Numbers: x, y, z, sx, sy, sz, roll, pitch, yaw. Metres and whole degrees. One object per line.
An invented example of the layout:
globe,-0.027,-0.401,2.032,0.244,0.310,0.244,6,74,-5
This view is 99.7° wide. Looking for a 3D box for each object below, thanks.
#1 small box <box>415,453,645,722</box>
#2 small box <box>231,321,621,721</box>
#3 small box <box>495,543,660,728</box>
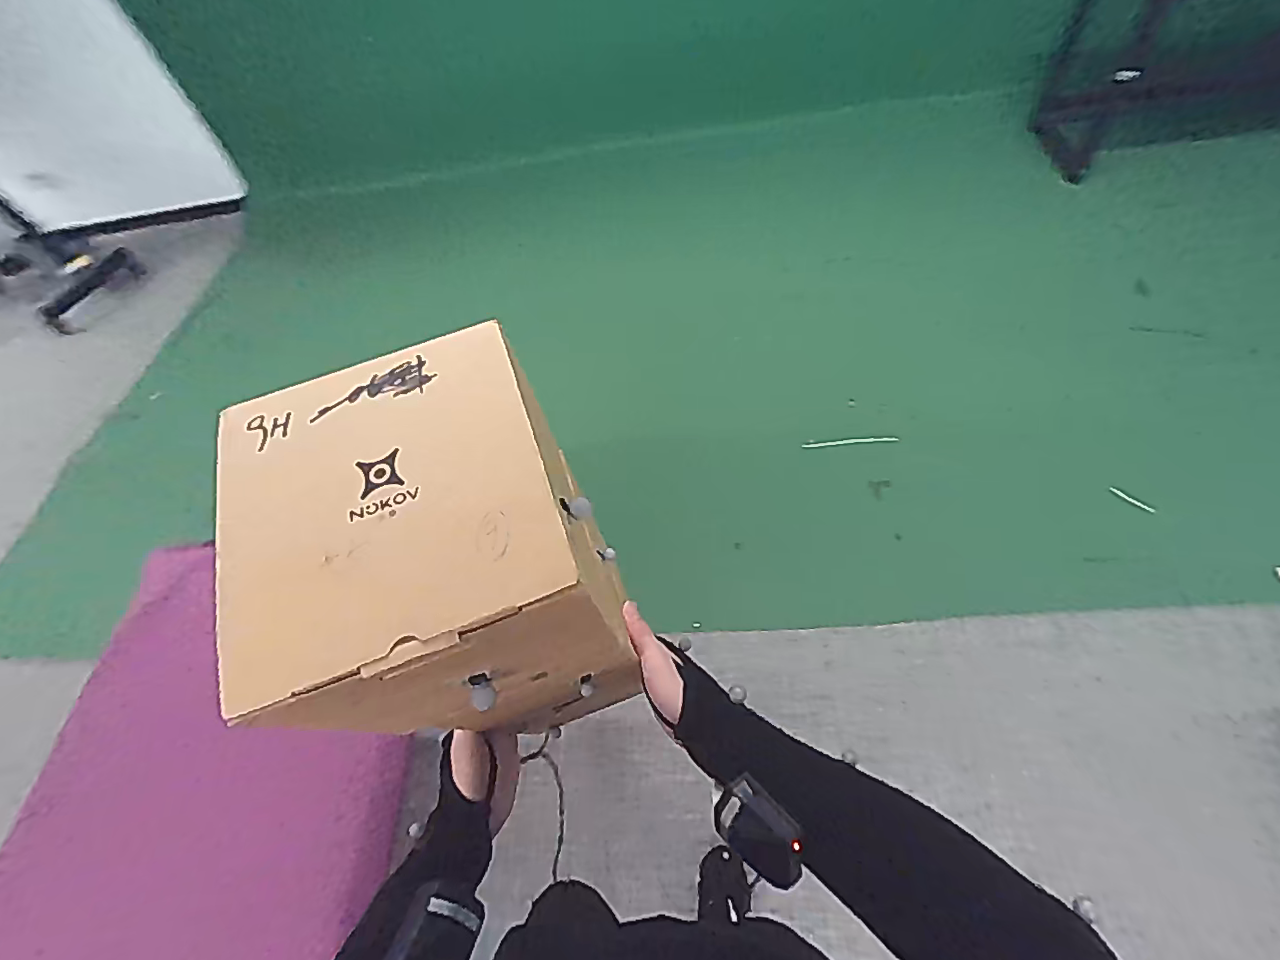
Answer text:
small box,-0.101,0.108,0.496,0.168,0.176,0.179,-19,63,-3
small box,-0.119,0.039,0.348,0.168,0.176,0.179,-20,64,-4
small box,-0.082,0.179,0.641,0.168,0.176,0.179,-20,62,-3
